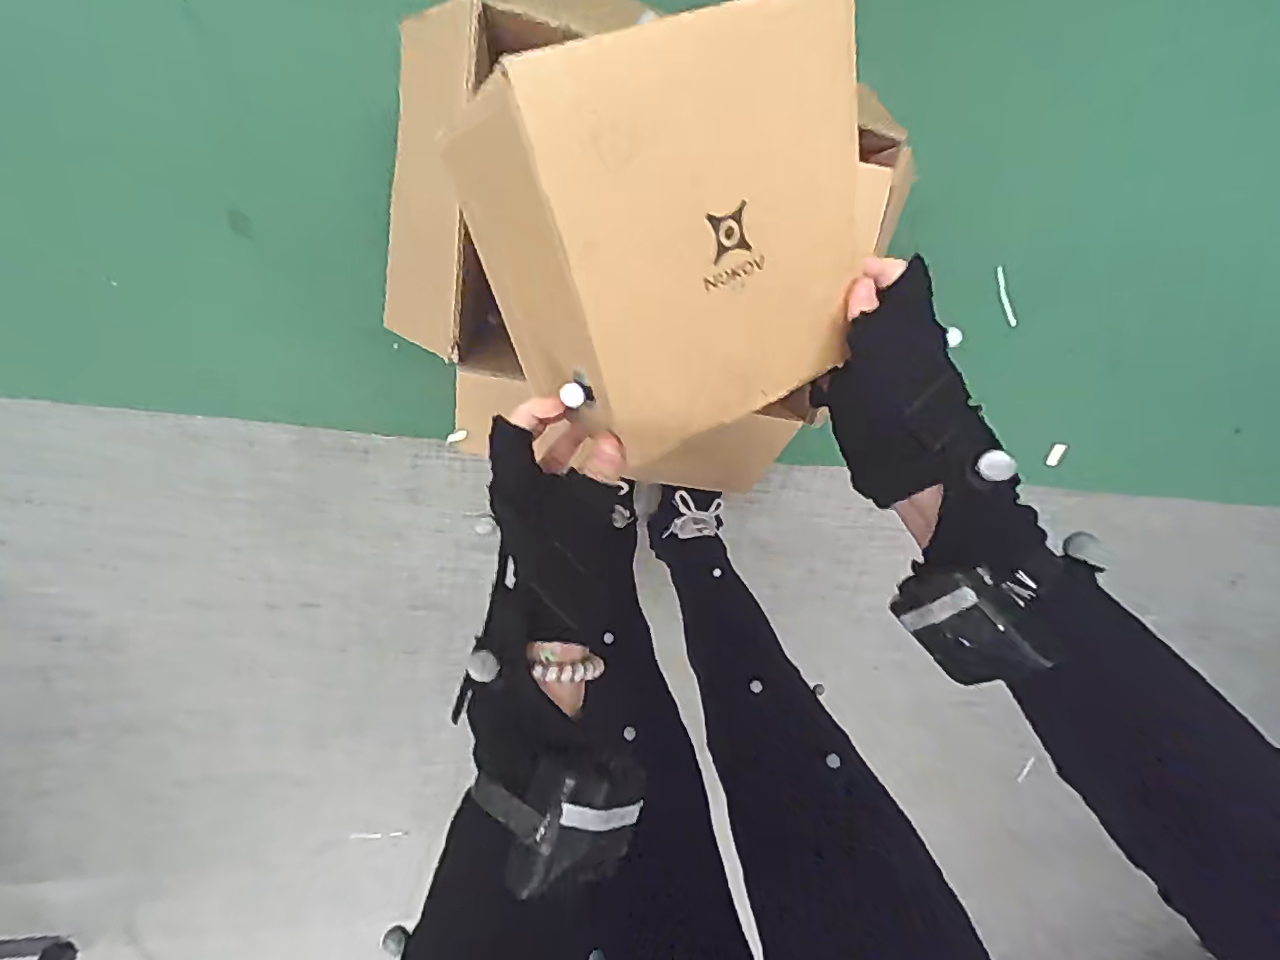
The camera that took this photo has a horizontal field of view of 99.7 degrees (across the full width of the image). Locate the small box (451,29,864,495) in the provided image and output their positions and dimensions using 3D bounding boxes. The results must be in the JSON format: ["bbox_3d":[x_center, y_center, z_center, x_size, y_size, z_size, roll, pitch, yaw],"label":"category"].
[{"bbox_3d":[0.007,-0.125,0.326,0.168,0.176,0.179,-28,123,-16],"label":"small box"}]
